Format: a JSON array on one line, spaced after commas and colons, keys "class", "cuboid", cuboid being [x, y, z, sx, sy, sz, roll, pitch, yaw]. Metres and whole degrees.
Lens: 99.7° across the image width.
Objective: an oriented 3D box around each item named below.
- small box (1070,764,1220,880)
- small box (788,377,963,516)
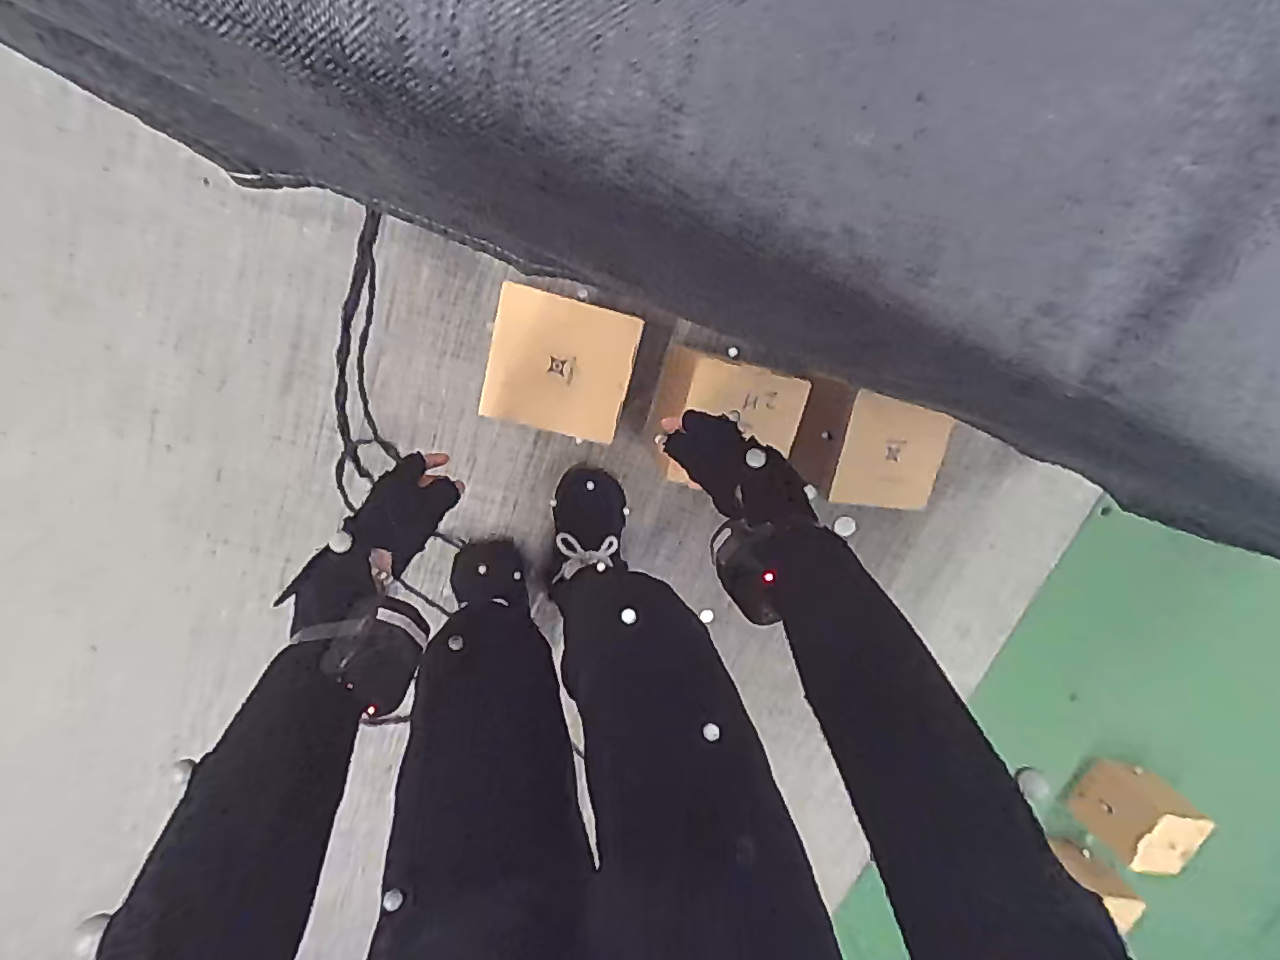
[{"class": "small box", "cuboid": [1.209, 0.822, 1.311, 0.179, 0.176, 0.168, 16, 105, -14]}, {"class": "small box", "cuboid": [0.354, -0.059, 0.848, 0.168, 0.176, 0.179, 5, 107, -12]}]
